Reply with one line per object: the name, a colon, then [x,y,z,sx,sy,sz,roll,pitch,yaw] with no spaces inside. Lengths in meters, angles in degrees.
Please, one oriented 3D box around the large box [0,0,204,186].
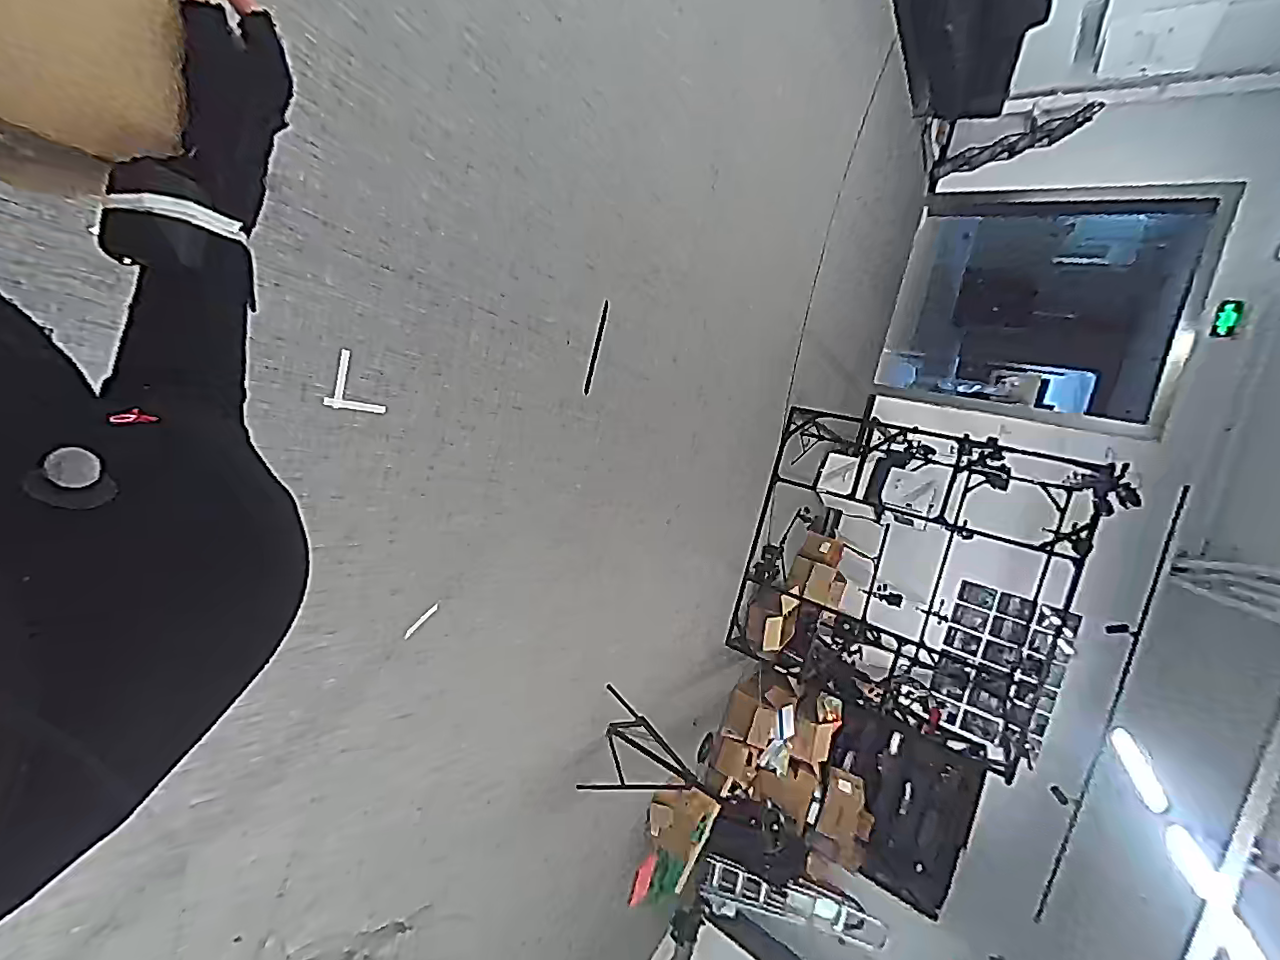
large box: [-0.540,-0.412,0.295,0.408,0.320,0.320,4,102,-61]
